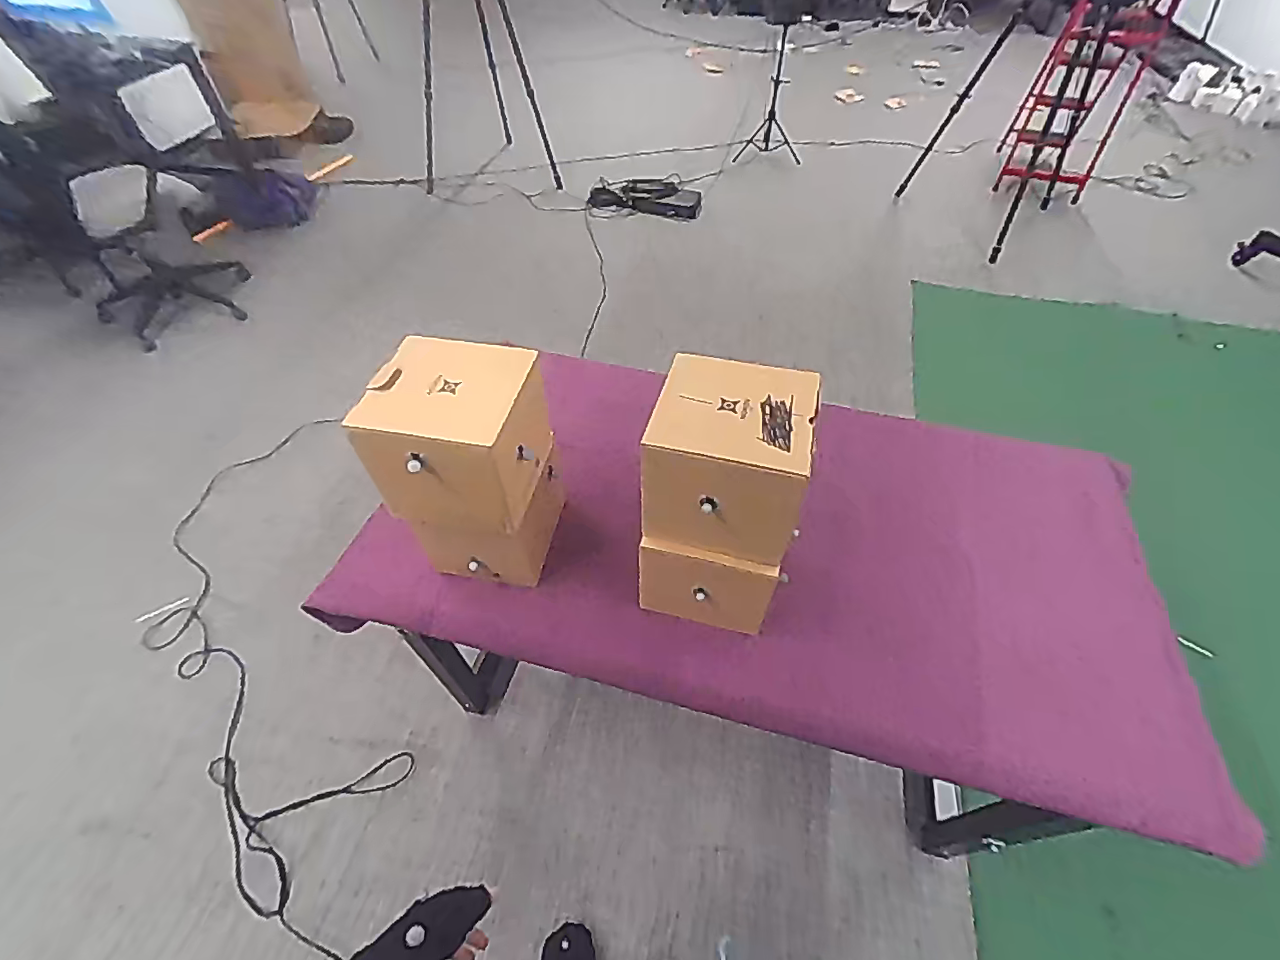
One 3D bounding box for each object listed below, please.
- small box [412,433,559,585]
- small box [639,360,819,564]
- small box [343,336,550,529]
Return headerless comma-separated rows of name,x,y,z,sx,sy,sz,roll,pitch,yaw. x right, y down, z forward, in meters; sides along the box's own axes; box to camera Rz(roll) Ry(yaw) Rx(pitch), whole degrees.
small box,-0.227,0.033,0.825,0.168,0.176,0.179,9,51,6
small box,0.104,-0.018,0.663,0.179,0.176,0.168,13,50,11
small box,-0.224,-0.056,0.687,0.179,0.176,0.168,9,51,6
